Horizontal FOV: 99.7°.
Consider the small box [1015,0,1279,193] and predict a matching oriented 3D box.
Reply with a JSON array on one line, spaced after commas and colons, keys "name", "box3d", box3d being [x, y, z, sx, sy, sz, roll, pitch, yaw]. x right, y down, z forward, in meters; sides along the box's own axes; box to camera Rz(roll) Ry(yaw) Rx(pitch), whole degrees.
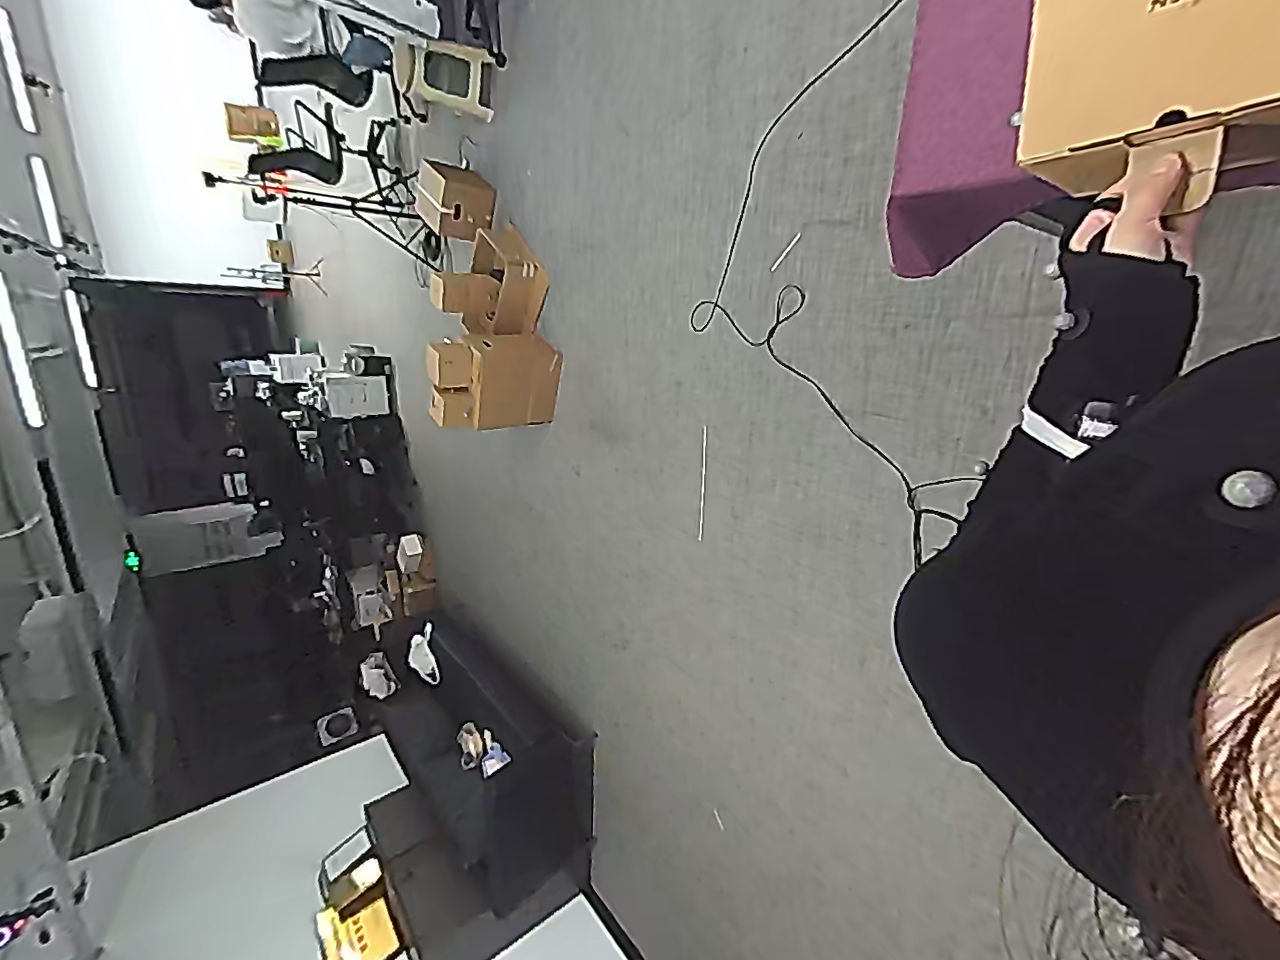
[{"name": "small box", "box3d": [0.398, -0.328, 0.387, 0.168, 0.176, 0.179, 13, 112, 47]}]
